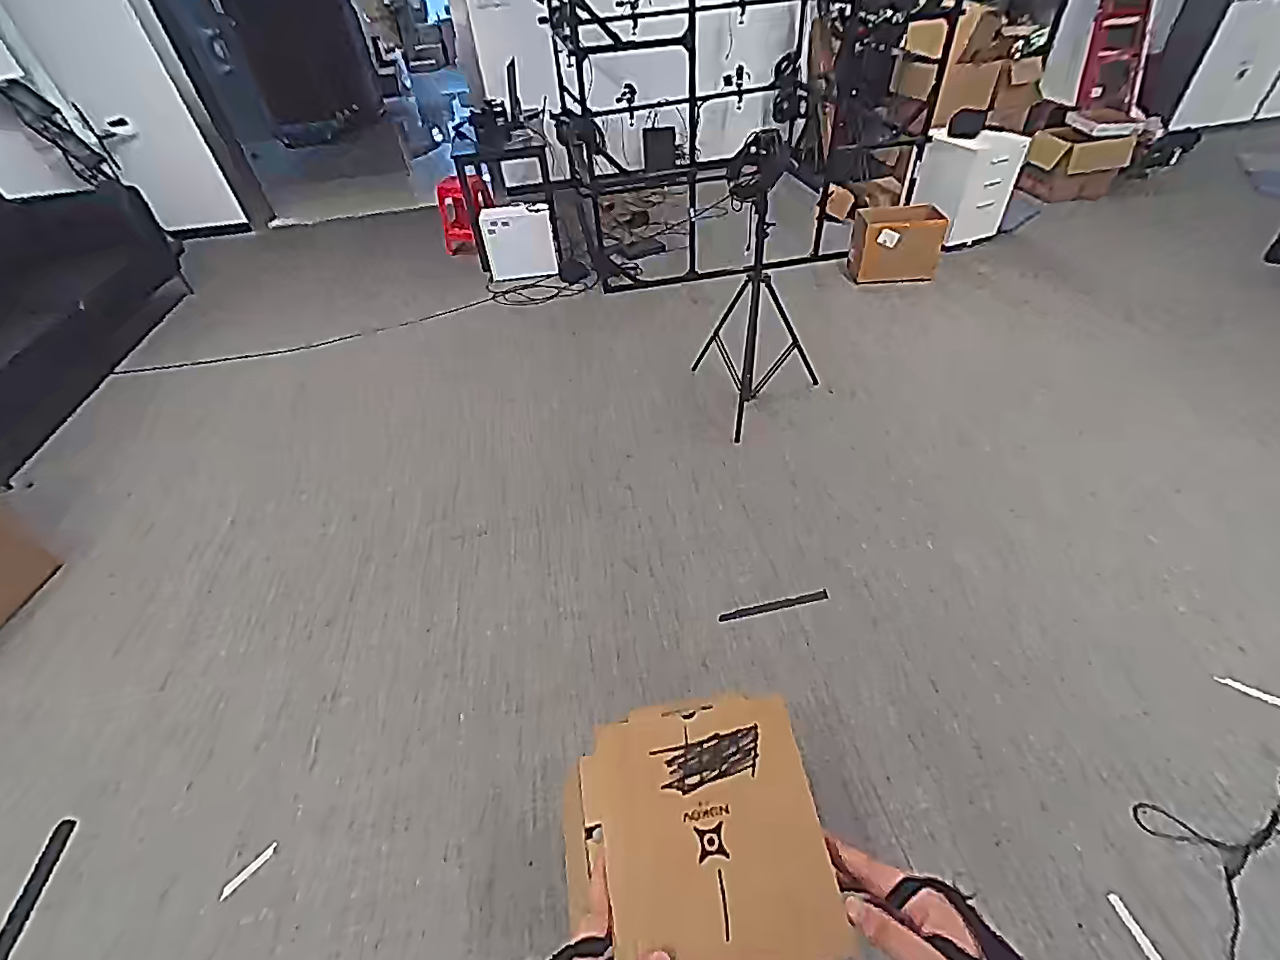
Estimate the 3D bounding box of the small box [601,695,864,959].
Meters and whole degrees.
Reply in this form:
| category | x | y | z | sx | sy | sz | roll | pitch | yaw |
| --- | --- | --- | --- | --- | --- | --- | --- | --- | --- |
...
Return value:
| category | x | y | z | sx | sy | sz | roll | pitch | yaw |
| --- | --- | --- | --- | --- | --- | --- | --- | --- | --- |
| small box | 0.062 | 0.310 | 0.468 | 0.168 | 0.176 | 0.179 | -9 | 52 | -2 |
